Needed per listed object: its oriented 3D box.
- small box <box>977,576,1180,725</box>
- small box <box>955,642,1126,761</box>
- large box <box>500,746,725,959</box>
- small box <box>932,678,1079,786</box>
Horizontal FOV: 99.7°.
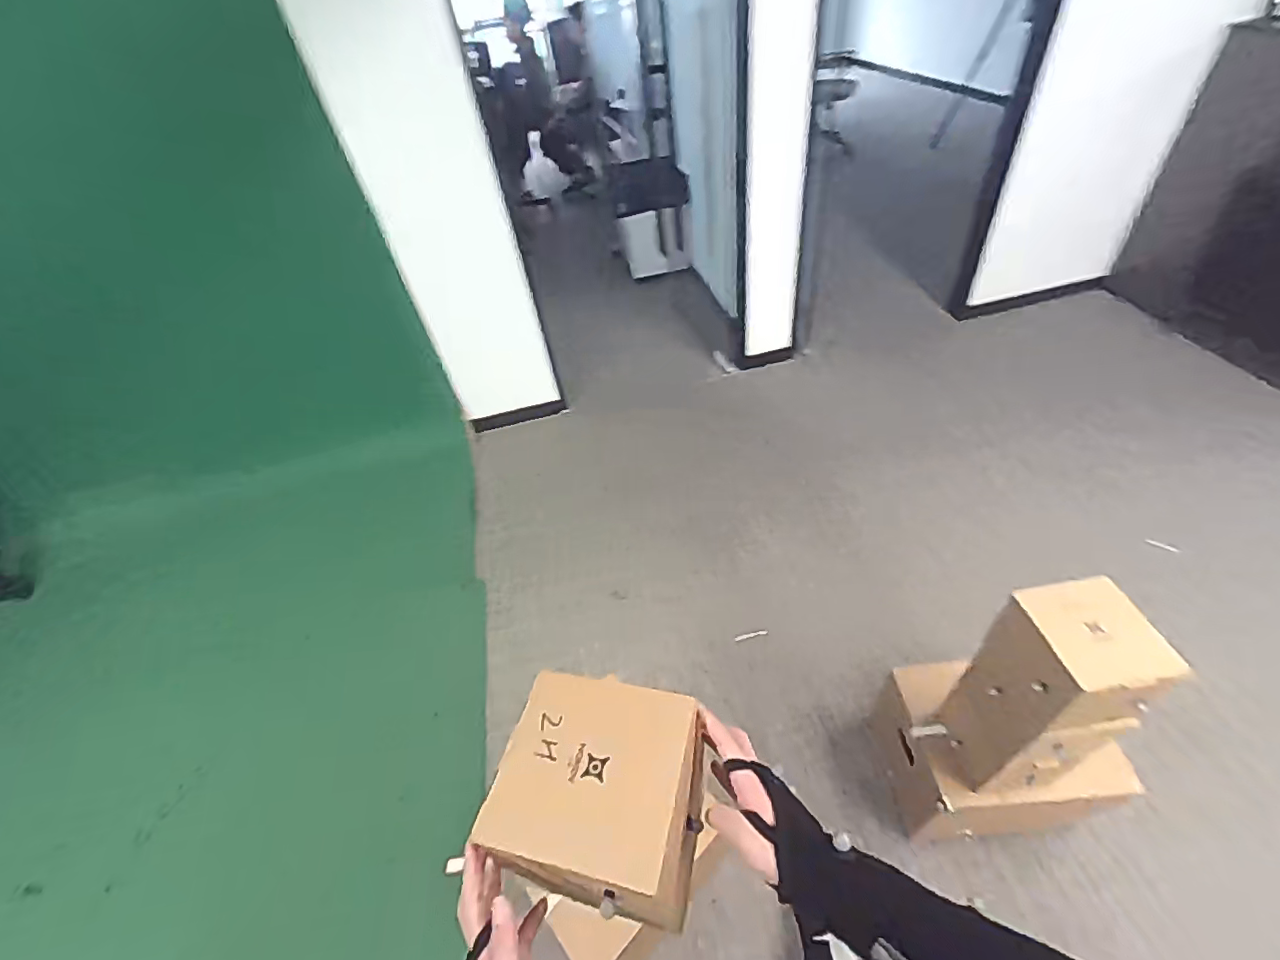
[{"bbox_3d":[0.710,0.291,0.903,0.168,0.176,0.179,-9,44,-1],"label":"small box"},{"bbox_3d":[0.731,0.408,1.014,0.168,0.176,0.179,-10,44,1],"label":"small box"},{"bbox_3d":[-0.041,0.866,1.267,0.408,0.320,0.320,-38,51,-25],"label":"large box"},{"bbox_3d":[0.747,0.521,1.130,0.168,0.176,0.179,-8,46,1],"label":"small box"}]
